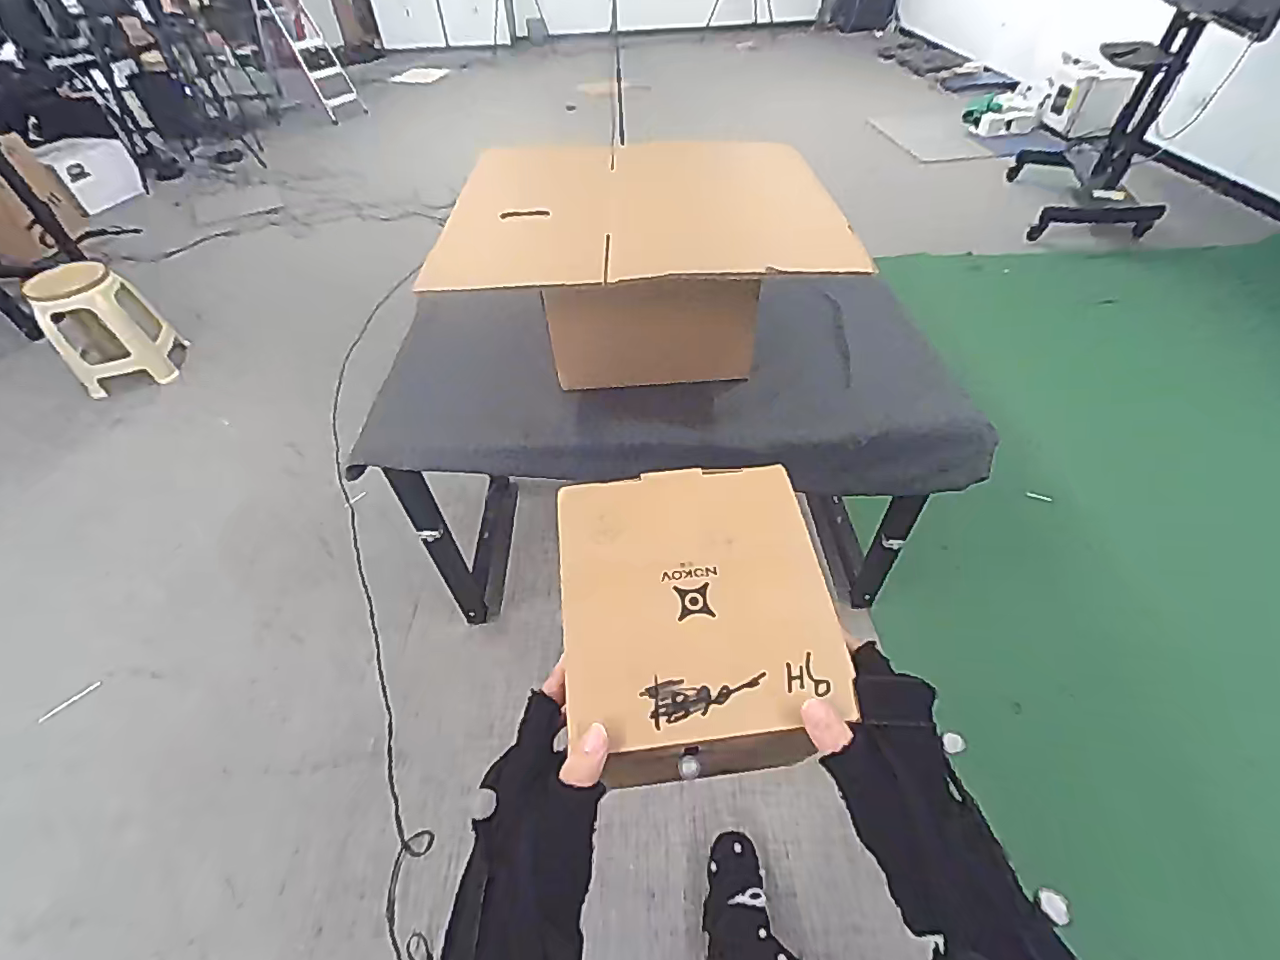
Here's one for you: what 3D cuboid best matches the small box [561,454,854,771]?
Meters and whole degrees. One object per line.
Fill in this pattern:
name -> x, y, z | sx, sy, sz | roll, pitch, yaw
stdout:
small box -> 0.032, 0.105, 0.412 | 0.168, 0.176, 0.179 | -7, 55, -3
